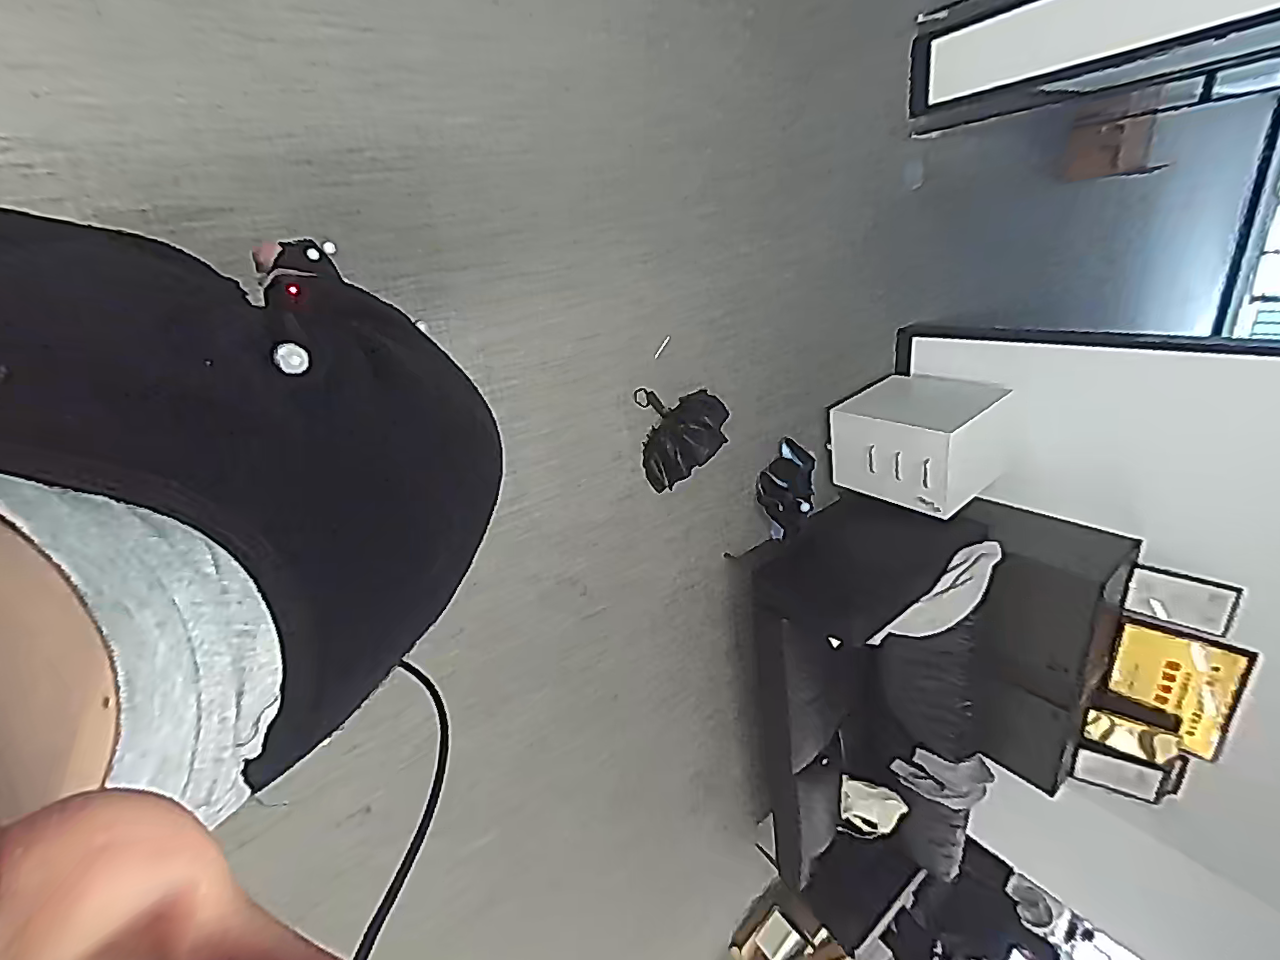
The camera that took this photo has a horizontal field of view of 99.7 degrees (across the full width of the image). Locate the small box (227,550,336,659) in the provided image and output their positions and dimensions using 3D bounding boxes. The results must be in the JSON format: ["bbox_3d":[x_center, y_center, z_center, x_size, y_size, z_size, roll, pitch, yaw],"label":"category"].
[{"bbox_3d":[-0.899,0.305,1.359,0.168,0.176,0.179,-30,120,-27],"label":"small box"}]
